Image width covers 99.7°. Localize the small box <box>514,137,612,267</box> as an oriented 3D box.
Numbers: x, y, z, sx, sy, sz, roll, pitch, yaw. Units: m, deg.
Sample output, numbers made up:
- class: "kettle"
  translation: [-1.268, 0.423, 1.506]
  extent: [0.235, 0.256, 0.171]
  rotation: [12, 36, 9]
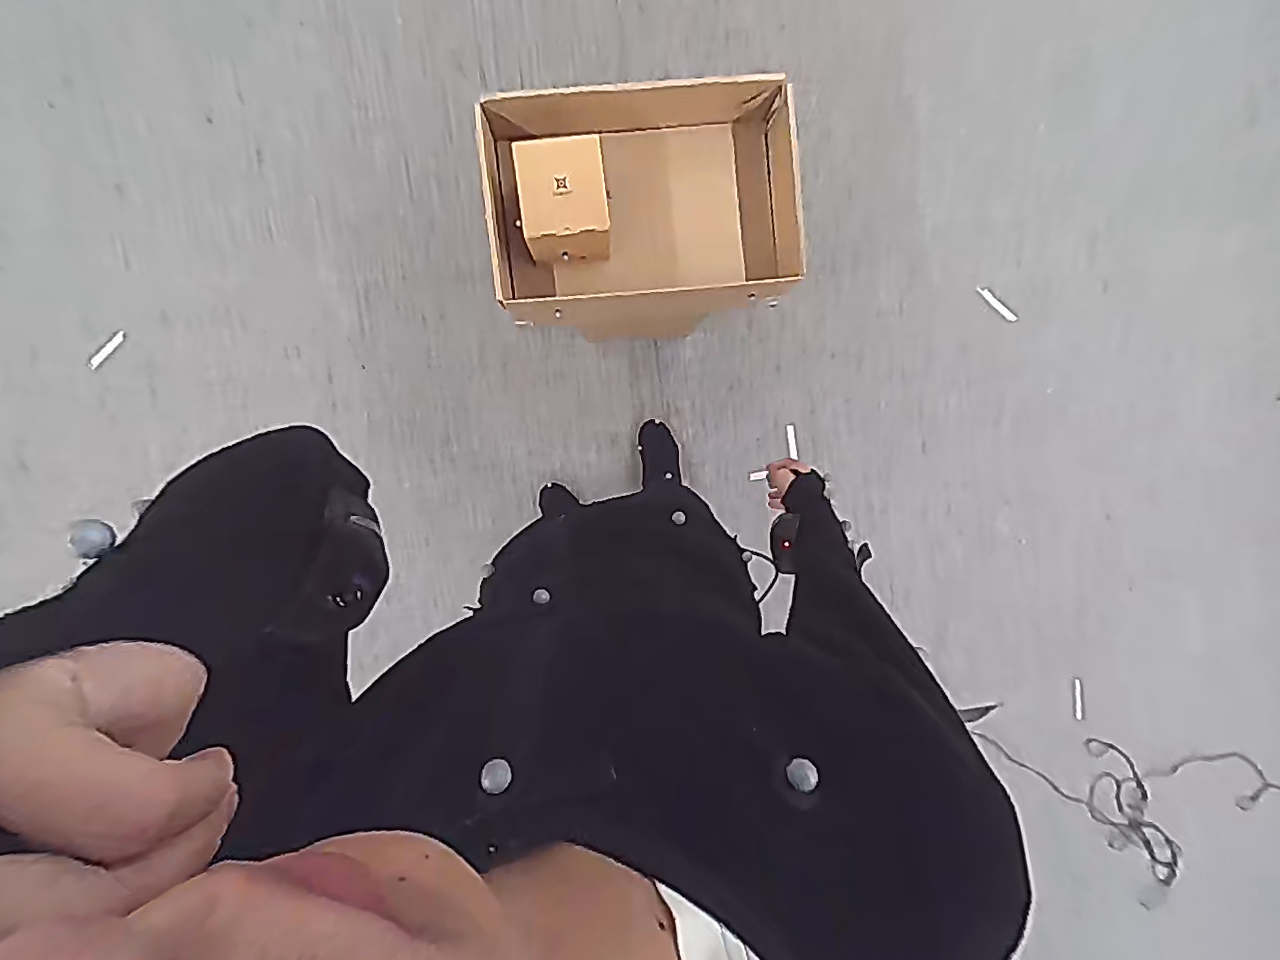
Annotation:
- class: "small box"
  translation: [-0.149, -0.551, 1.089]
  extent: [0.168, 0.176, 0.179]
  rotation: [-8, 95, -3]
